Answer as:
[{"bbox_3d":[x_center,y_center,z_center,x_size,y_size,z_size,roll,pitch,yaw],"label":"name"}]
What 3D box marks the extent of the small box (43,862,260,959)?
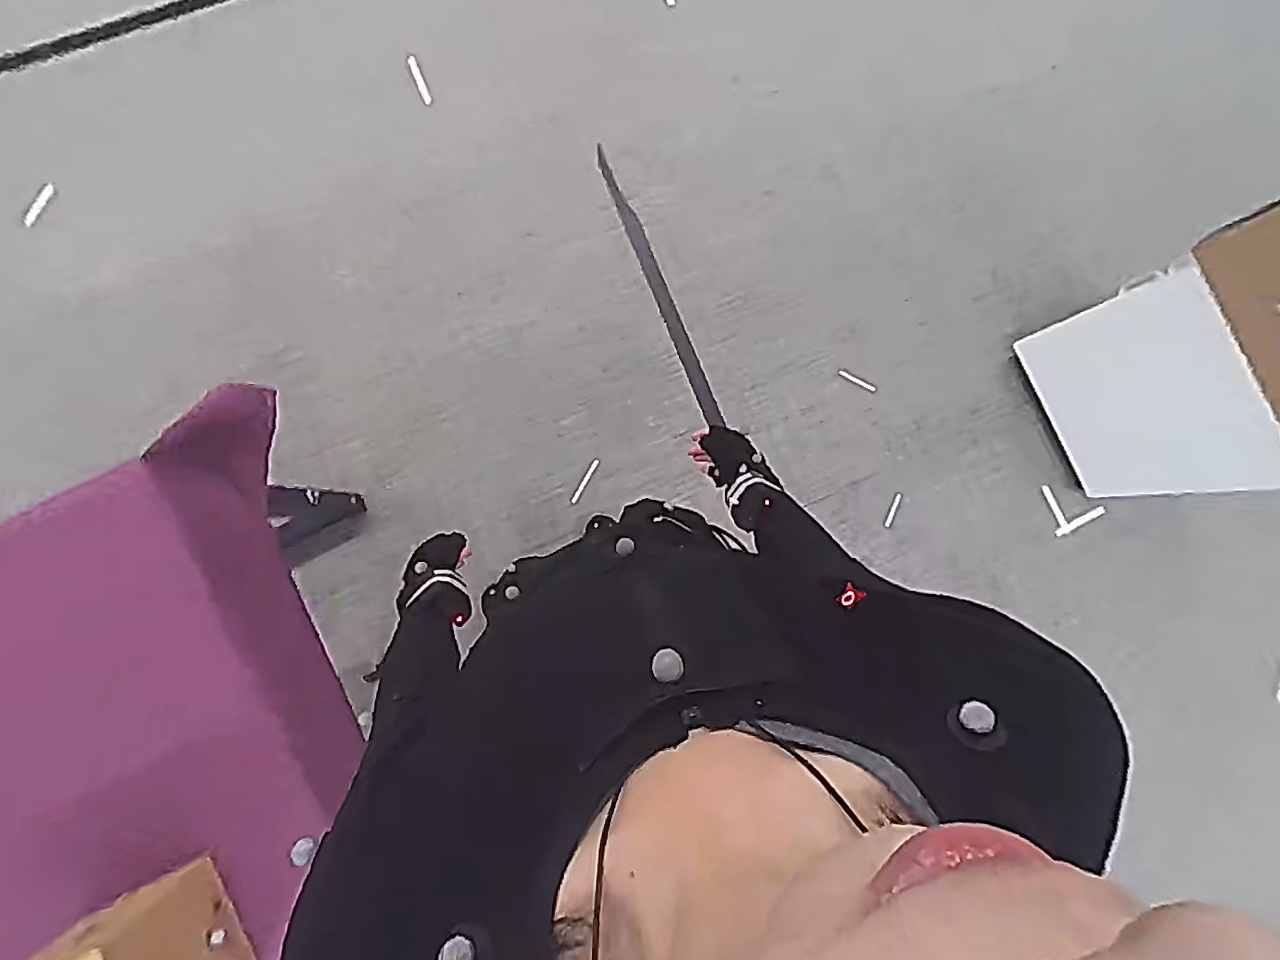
[{"bbox_3d":[-0.608,0.610,0.636,0.179,0.176,0.168,-27,88,-6],"label":"small box"}]
